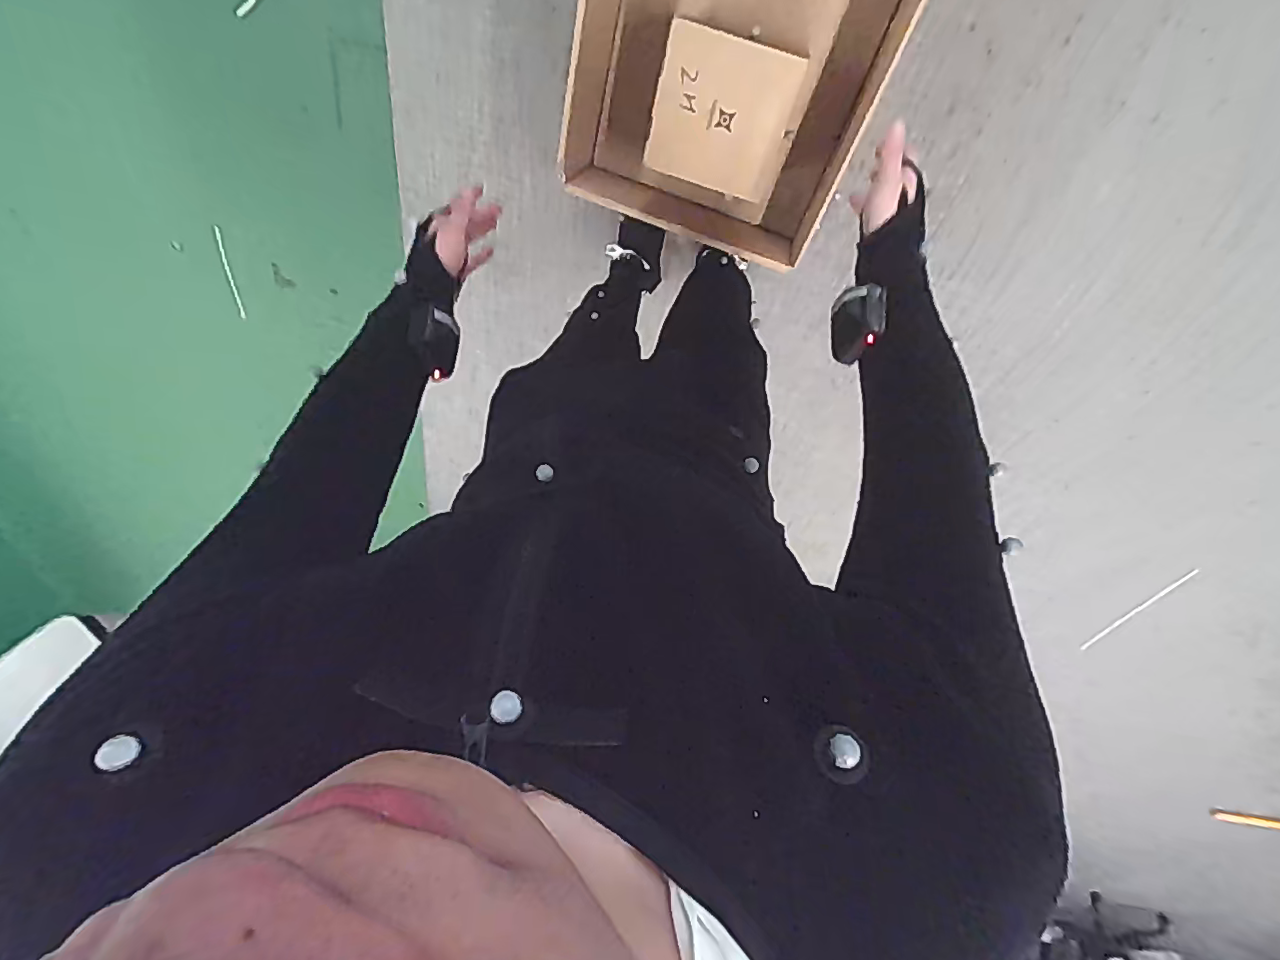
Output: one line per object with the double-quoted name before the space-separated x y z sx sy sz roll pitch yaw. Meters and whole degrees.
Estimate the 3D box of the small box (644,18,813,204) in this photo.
"small box" 0.124 -0.518 0.755 0.179 0.176 0.168 19 131 0

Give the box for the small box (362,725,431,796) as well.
"small box" -0.901 1.035 2.005 0.179 0.176 0.168 21 132 -2
